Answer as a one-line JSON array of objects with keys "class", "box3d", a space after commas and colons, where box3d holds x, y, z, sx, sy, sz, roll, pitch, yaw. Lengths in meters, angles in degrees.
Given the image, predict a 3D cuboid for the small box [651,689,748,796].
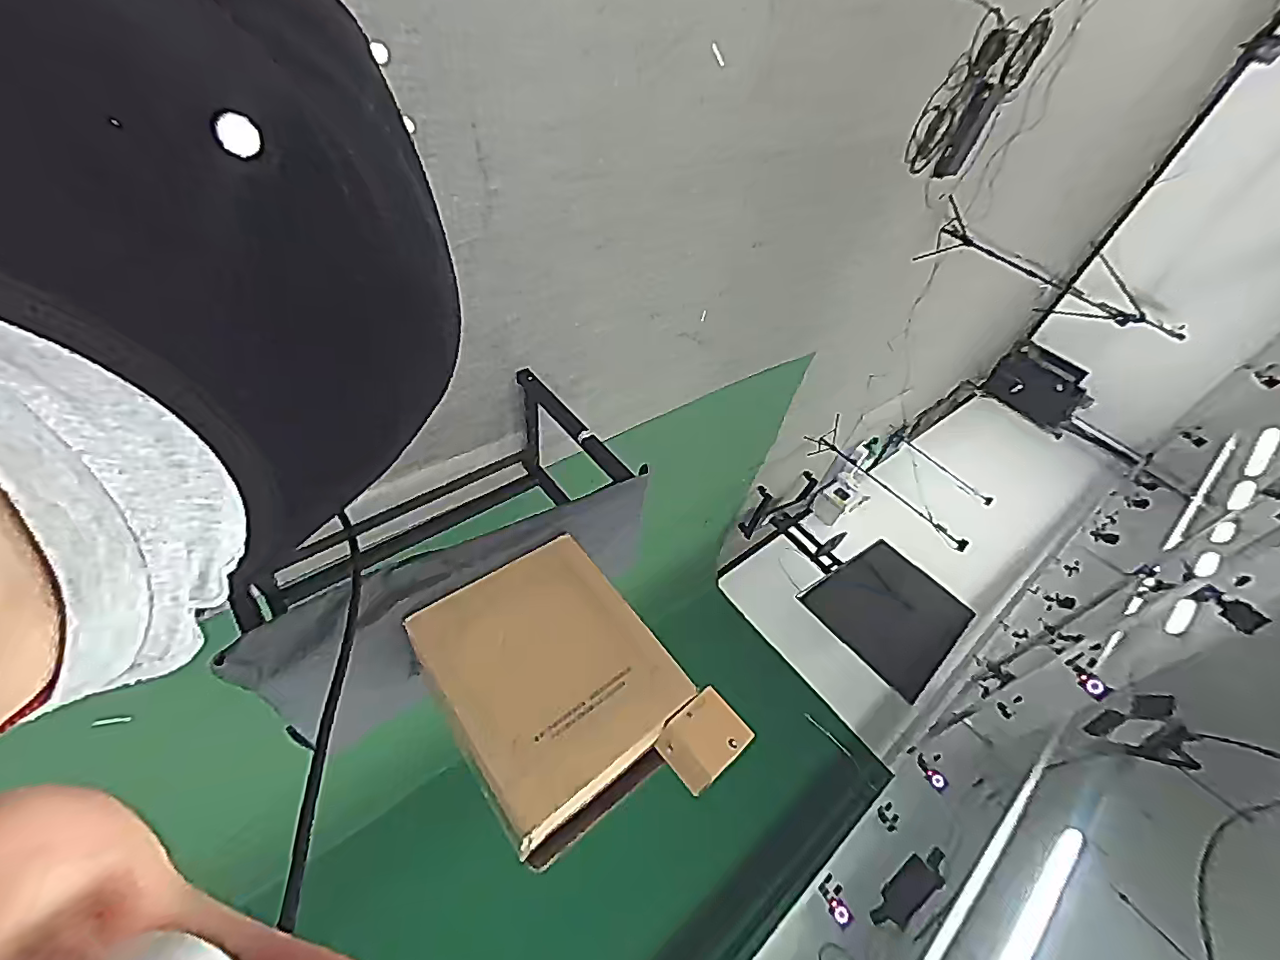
[{"class": "small box", "box3d": [0.151, 0.694, 1.442, 0.168, 0.176, 0.179, -30, 150, -35]}]
